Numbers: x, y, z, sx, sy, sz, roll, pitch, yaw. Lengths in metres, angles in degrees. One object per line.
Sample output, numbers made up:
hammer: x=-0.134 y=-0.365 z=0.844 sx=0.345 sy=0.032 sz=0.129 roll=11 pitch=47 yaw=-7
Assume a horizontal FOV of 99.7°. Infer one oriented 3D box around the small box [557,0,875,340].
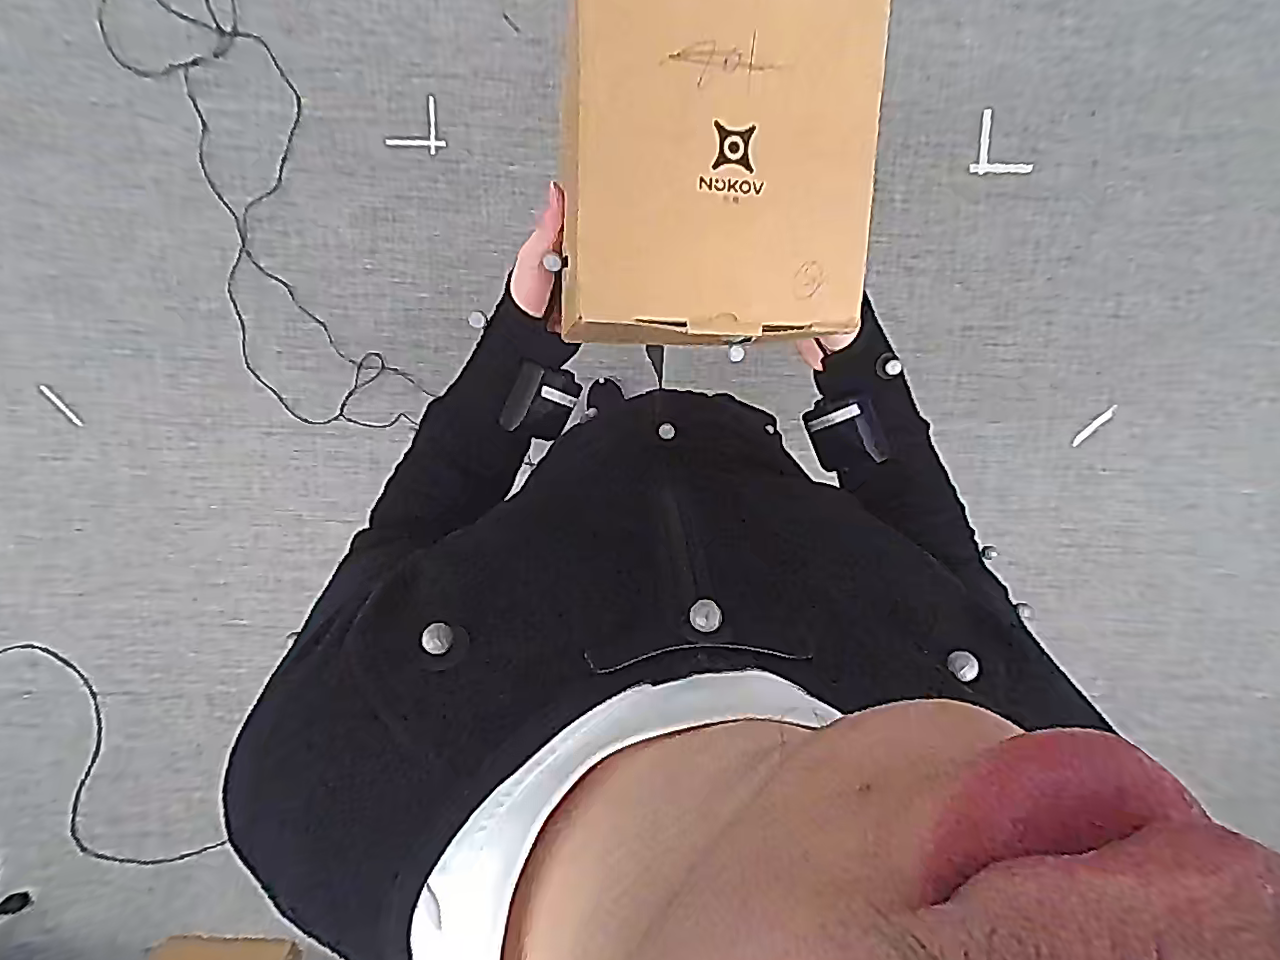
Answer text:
small box: x=0.031 y=-0.191 z=0.371 sx=0.168 sy=0.176 sz=0.179 roll=-1 pitch=100 yaw=-11
